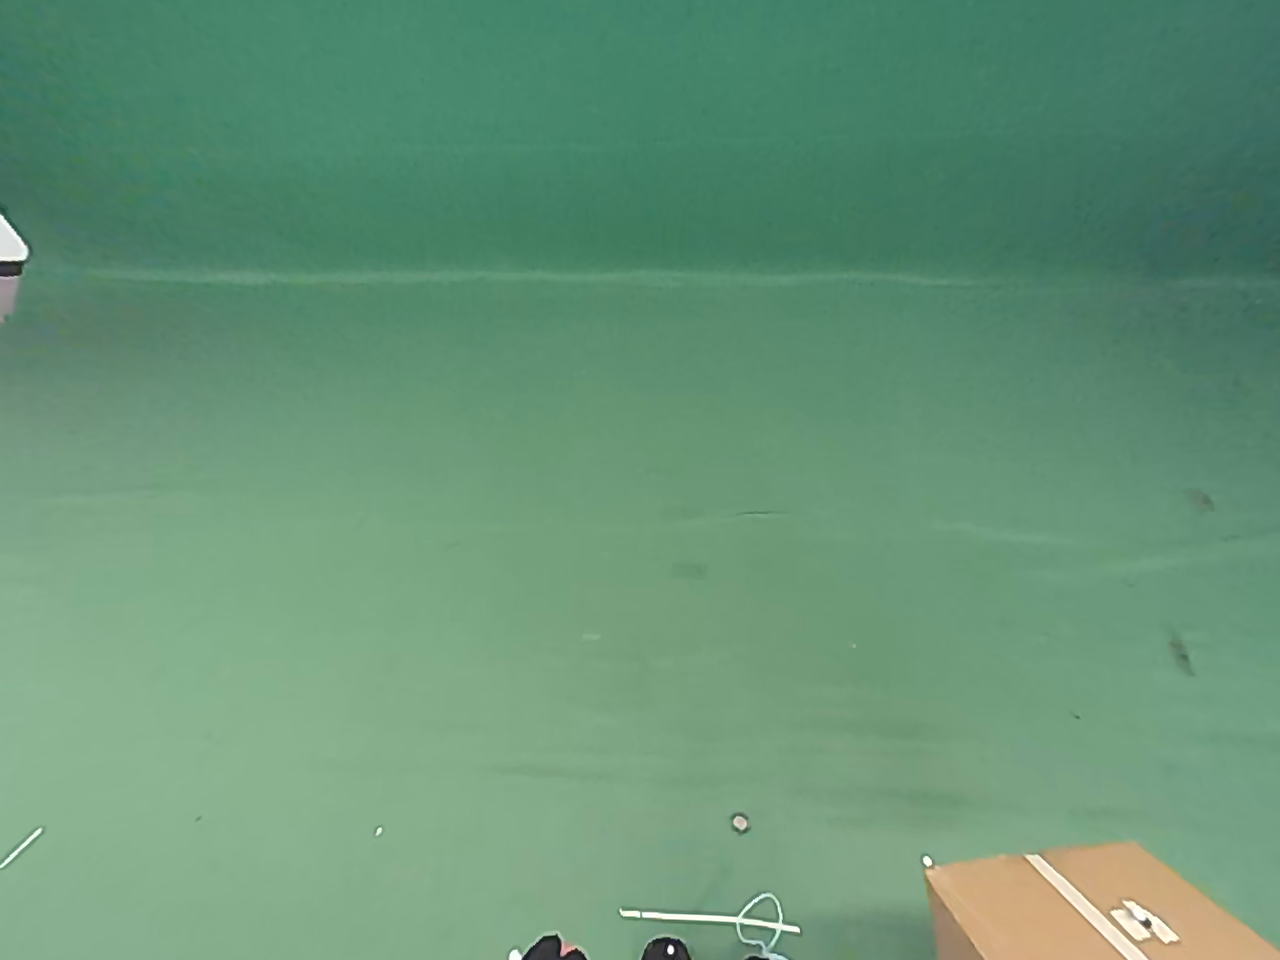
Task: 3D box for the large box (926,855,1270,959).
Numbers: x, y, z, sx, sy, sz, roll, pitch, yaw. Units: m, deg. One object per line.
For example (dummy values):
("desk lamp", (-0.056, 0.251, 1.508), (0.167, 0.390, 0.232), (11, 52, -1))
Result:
("large box", (0.591, 0.717, 0.596), (0.320, 0.408, 0.320), (-7, 88, 1))
